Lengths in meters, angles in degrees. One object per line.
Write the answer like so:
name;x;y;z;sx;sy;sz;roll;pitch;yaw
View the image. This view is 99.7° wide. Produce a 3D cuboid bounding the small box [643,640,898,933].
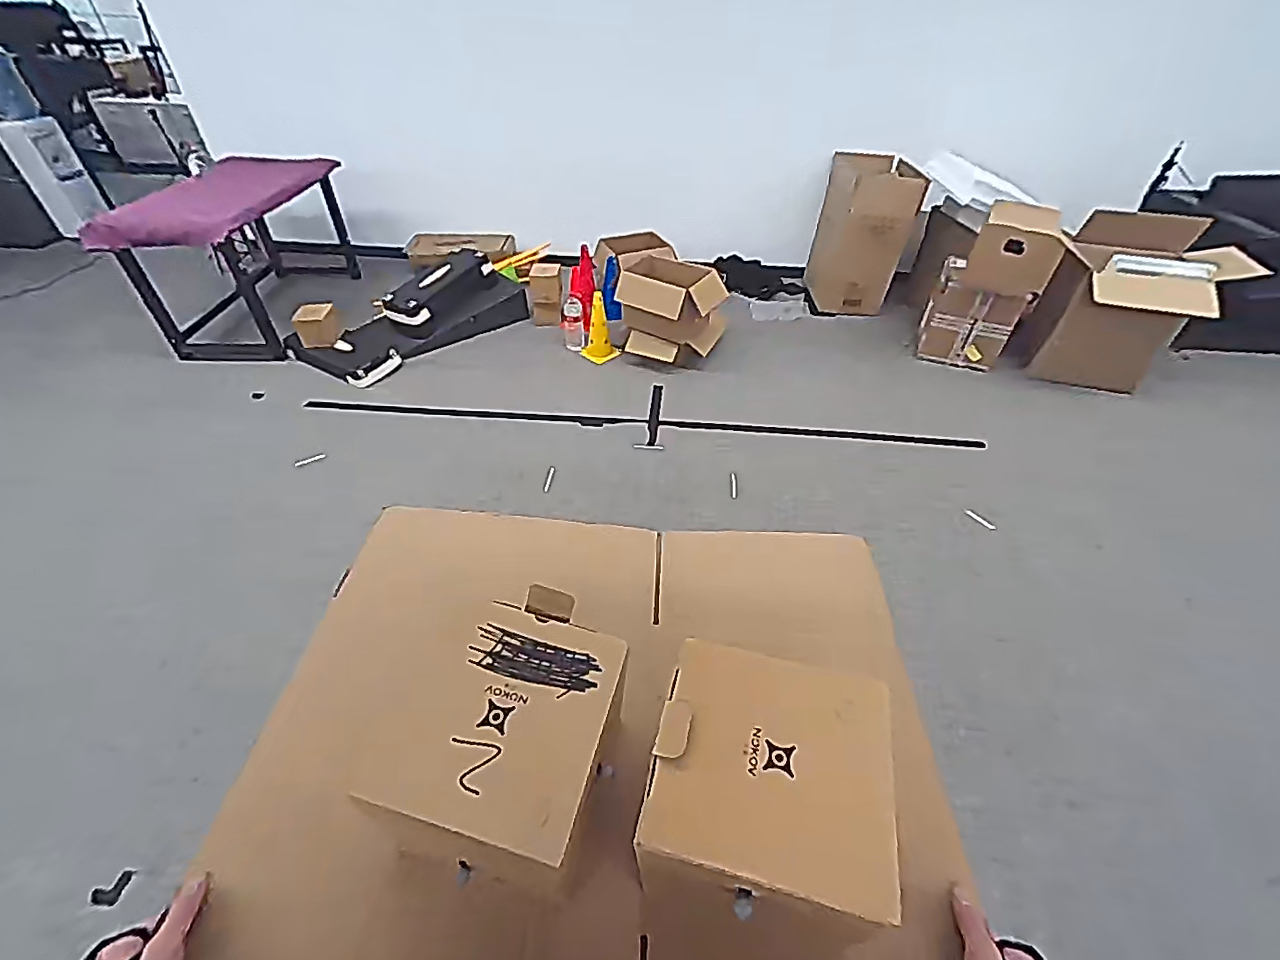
small box;0.111;0.272;0.480;0.179;0.176;0.168;9;46;13
